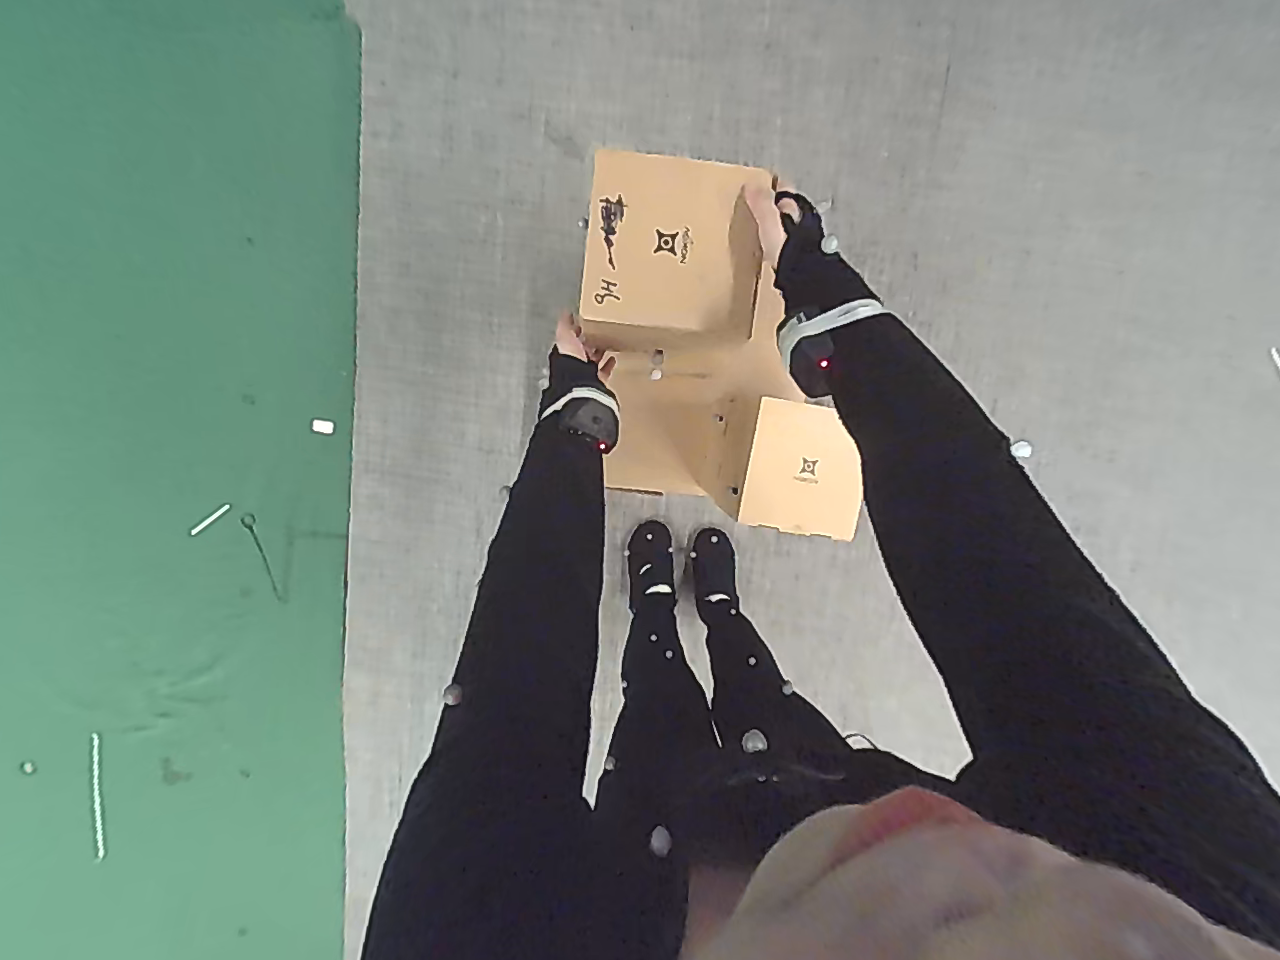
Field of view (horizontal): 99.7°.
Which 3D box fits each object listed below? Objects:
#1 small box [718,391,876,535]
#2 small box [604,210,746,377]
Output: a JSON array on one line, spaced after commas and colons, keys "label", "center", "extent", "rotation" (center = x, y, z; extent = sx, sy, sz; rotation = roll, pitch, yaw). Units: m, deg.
[{"label": "small box", "center": [0.220, -0.029, 0.806], "extent": [0.168, 0.176, 0.179], "rotation": [9, 96, -4]}, {"label": "small box", "center": [0.042, -0.255, 0.777], "extent": [0.168, 0.176, 0.179], "rotation": [8, 94, -2]}]
